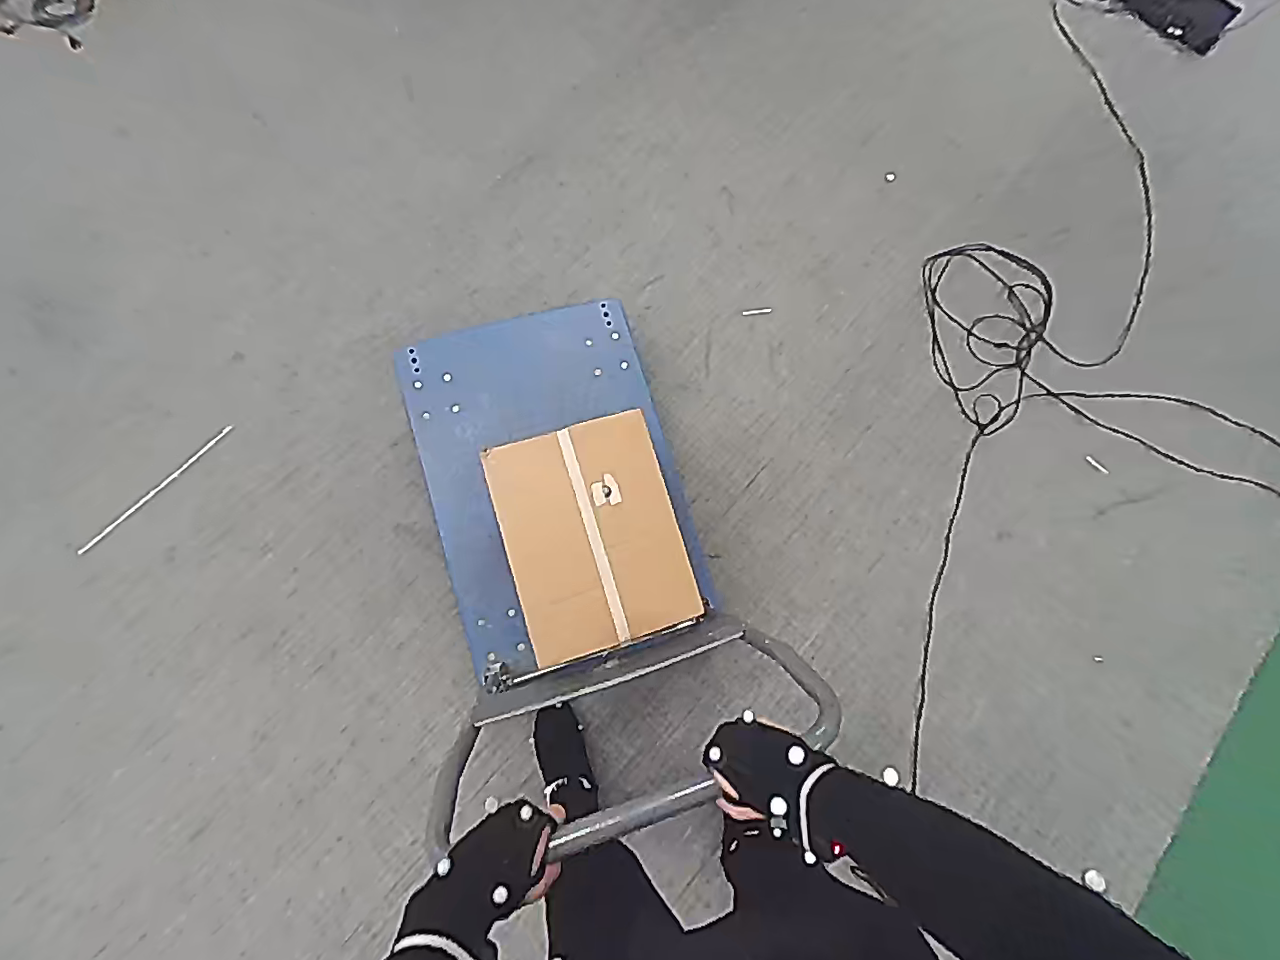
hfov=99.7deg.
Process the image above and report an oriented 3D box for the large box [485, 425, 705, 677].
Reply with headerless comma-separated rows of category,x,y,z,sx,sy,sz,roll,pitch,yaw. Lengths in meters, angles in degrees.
large box,-0.097,0.146,1.149,0.320,0.320,0.408,-17,83,-9
